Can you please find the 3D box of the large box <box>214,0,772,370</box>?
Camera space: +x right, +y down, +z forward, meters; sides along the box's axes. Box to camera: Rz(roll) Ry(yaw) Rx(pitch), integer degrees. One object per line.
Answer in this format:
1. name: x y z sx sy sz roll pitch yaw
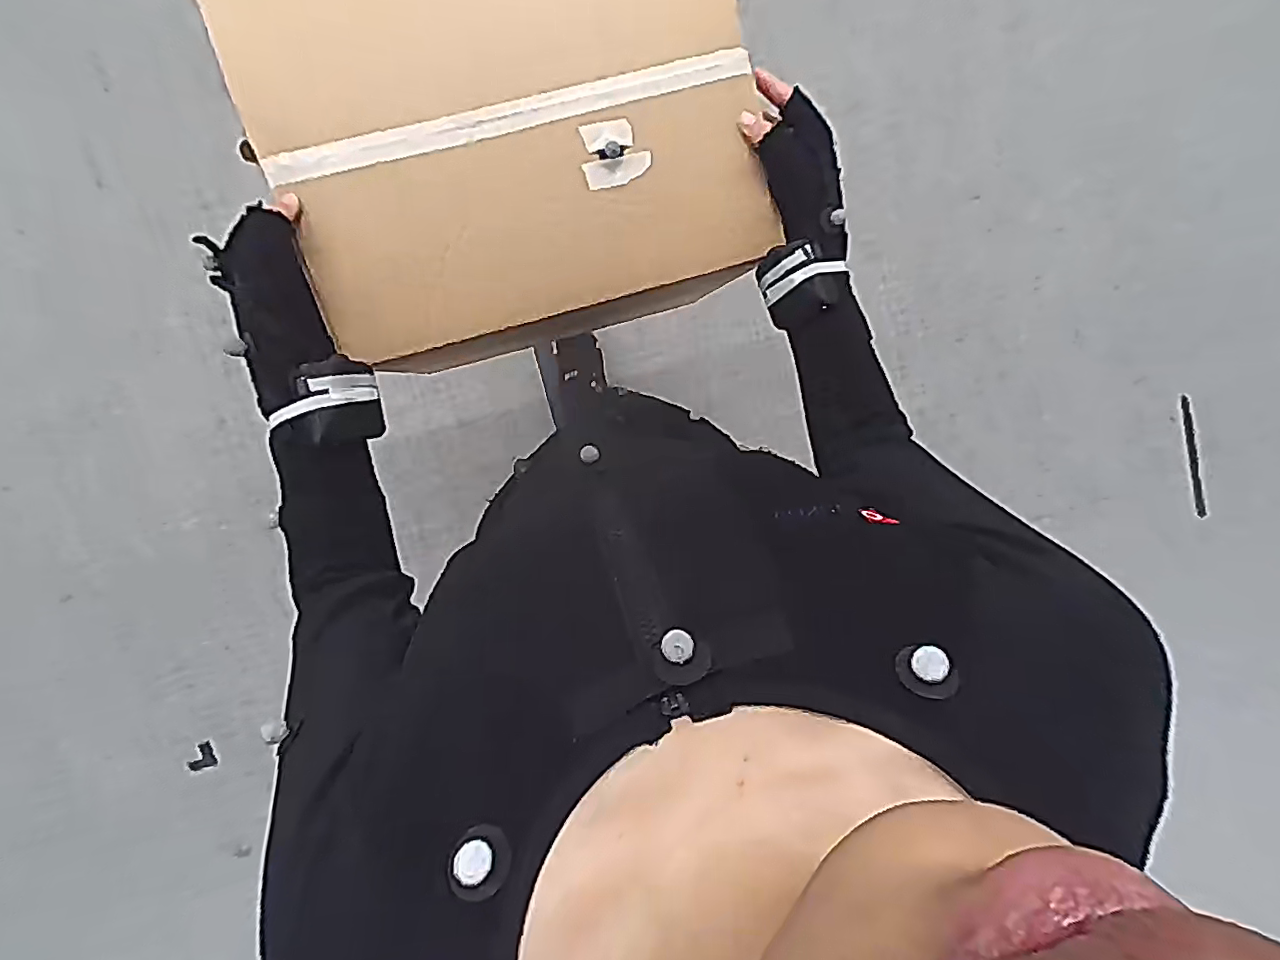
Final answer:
1. large box: -0.128 -0.333 0.604 0.408 0.320 0.320 -18 103 -7
